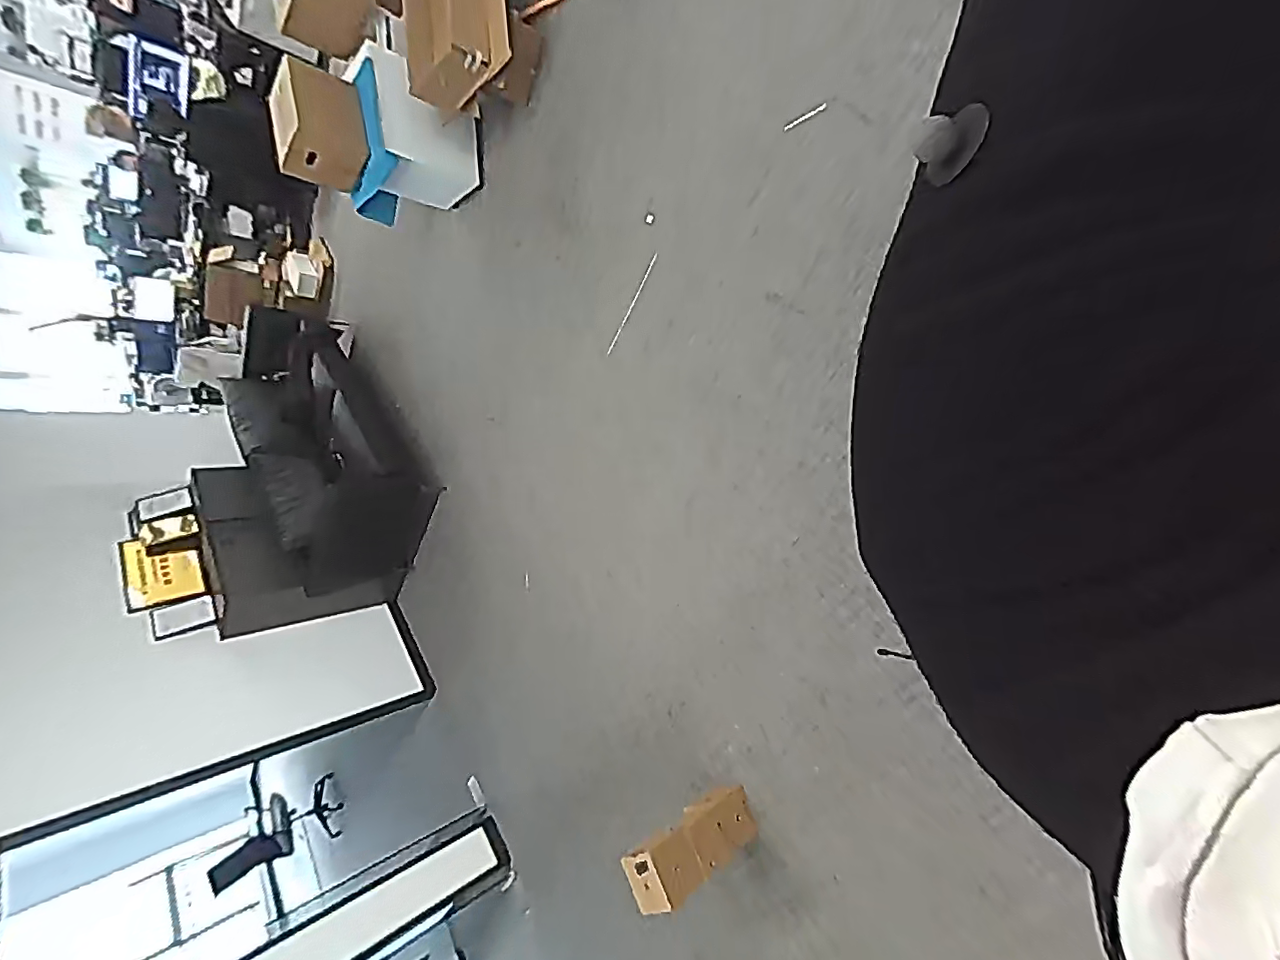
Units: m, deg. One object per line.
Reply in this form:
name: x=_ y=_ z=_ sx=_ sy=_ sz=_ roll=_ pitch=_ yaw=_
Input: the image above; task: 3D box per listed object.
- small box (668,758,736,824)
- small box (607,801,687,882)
small box: x=0.247 y=1.194 z=2.079 sx=0.179 sy=0.176 sz=0.168 roll=-34 pitch=71 yaw=40
small box: x=0.026 y=1.220 z=1.838 sx=0.168 sy=0.176 sz=0.179 roll=-42 pitch=68 yaw=38
